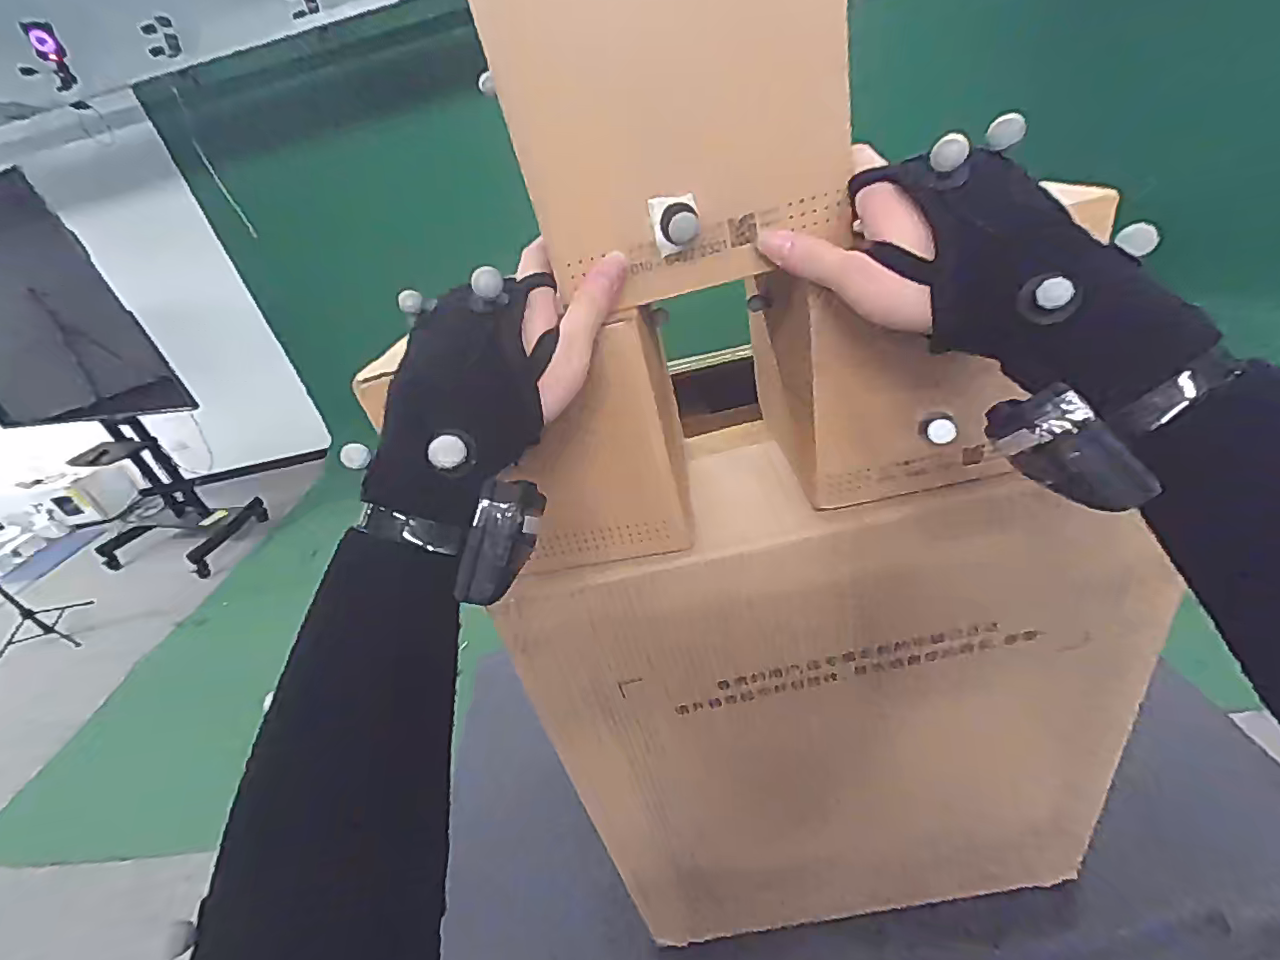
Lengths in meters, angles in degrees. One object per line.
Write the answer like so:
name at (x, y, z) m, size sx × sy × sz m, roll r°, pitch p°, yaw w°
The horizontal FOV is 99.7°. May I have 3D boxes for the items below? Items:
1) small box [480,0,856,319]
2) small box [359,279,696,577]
small box at (0.015, -0.211, 0.332) m, size 0.168 × 0.176 × 0.179 m, roll -16°, pitch 32°, yaw 1°
small box at (-0.061, -0.044, 0.412) m, size 0.179 × 0.176 × 0.168 m, roll -10°, pitch 33°, yaw 9°
